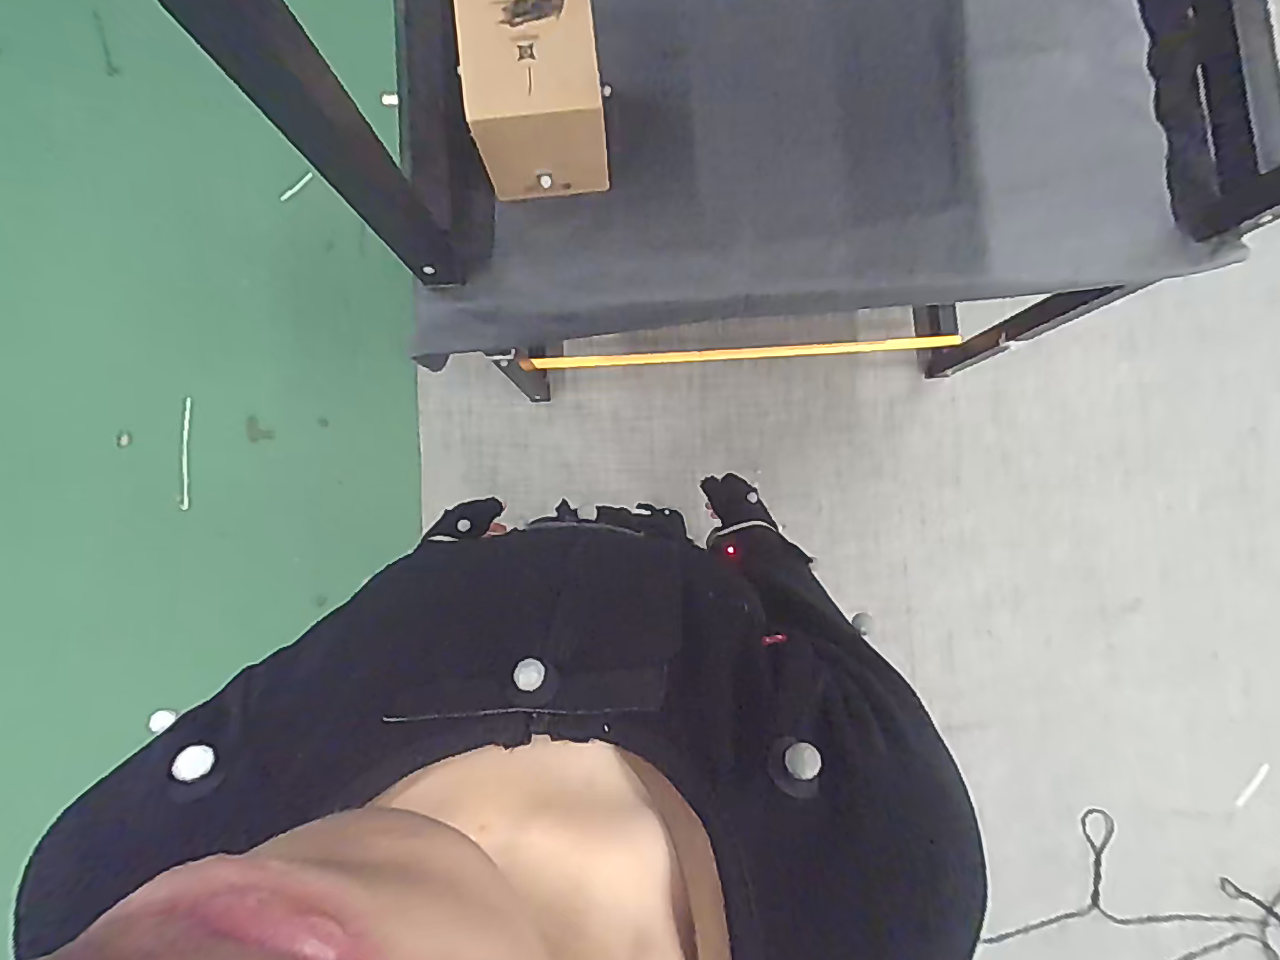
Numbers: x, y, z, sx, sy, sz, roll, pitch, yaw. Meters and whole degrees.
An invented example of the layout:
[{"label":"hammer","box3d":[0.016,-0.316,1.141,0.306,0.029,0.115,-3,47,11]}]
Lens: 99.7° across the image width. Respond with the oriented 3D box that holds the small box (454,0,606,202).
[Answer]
[{"label":"small box","box3d":[-0.138,-0.509,0.727,0.168,0.176,0.179,-6,86,0]}]
